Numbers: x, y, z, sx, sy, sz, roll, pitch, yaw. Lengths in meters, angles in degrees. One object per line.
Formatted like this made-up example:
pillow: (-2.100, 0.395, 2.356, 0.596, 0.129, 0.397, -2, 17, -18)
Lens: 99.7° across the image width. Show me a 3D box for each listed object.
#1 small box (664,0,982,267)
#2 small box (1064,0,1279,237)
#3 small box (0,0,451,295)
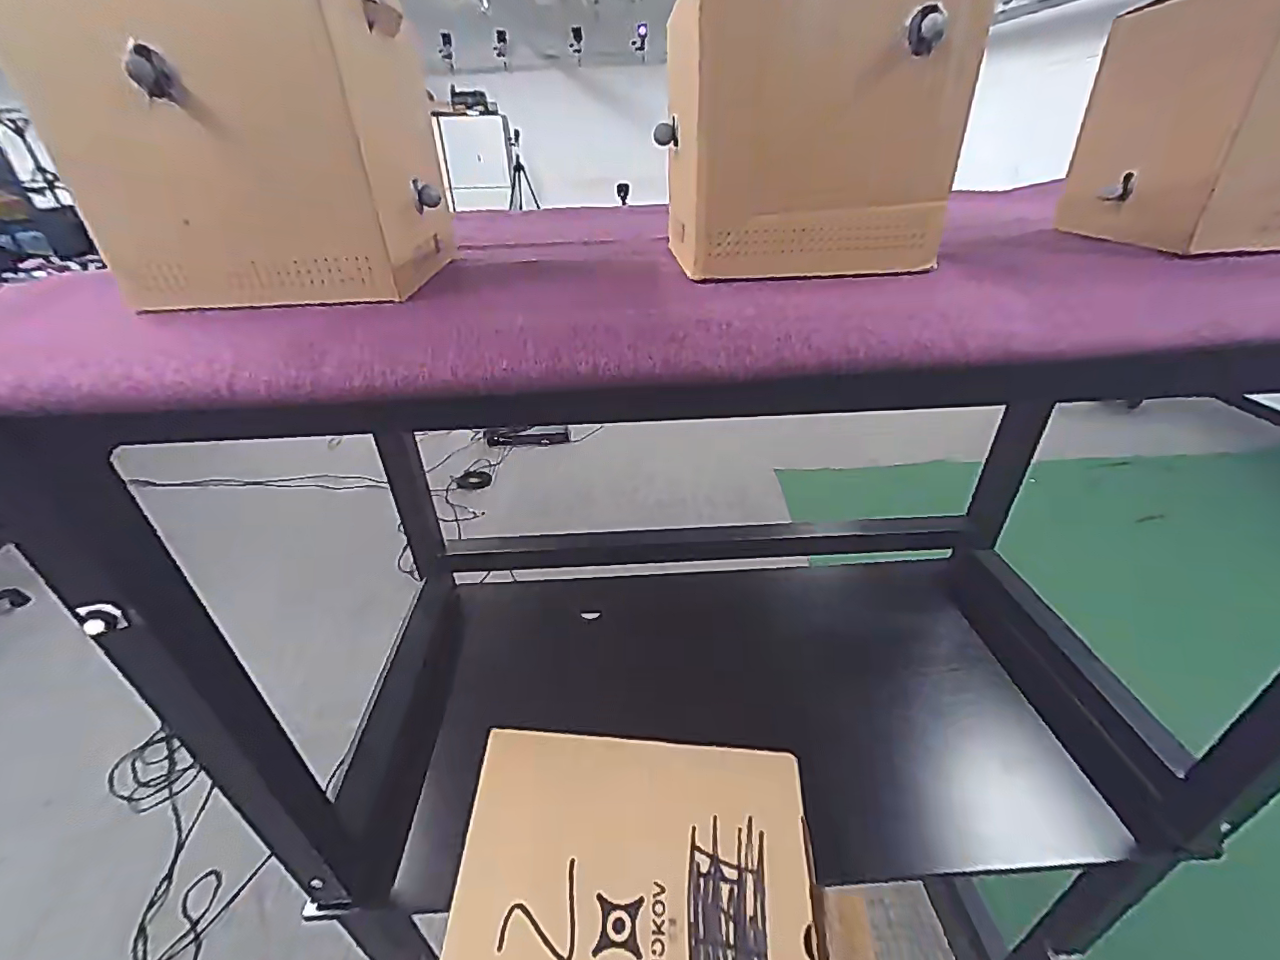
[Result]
small box: (0.112, -0.257, 0.394, 0.179, 0.176, 0.168, -3, 31, -2)
small box: (0.473, -0.281, 0.403, 0.168, 0.176, 0.179, -1, 31, 5)
small box: (-0.249, -0.230, 0.366, 0.179, 0.176, 0.168, -3, 34, -2)
